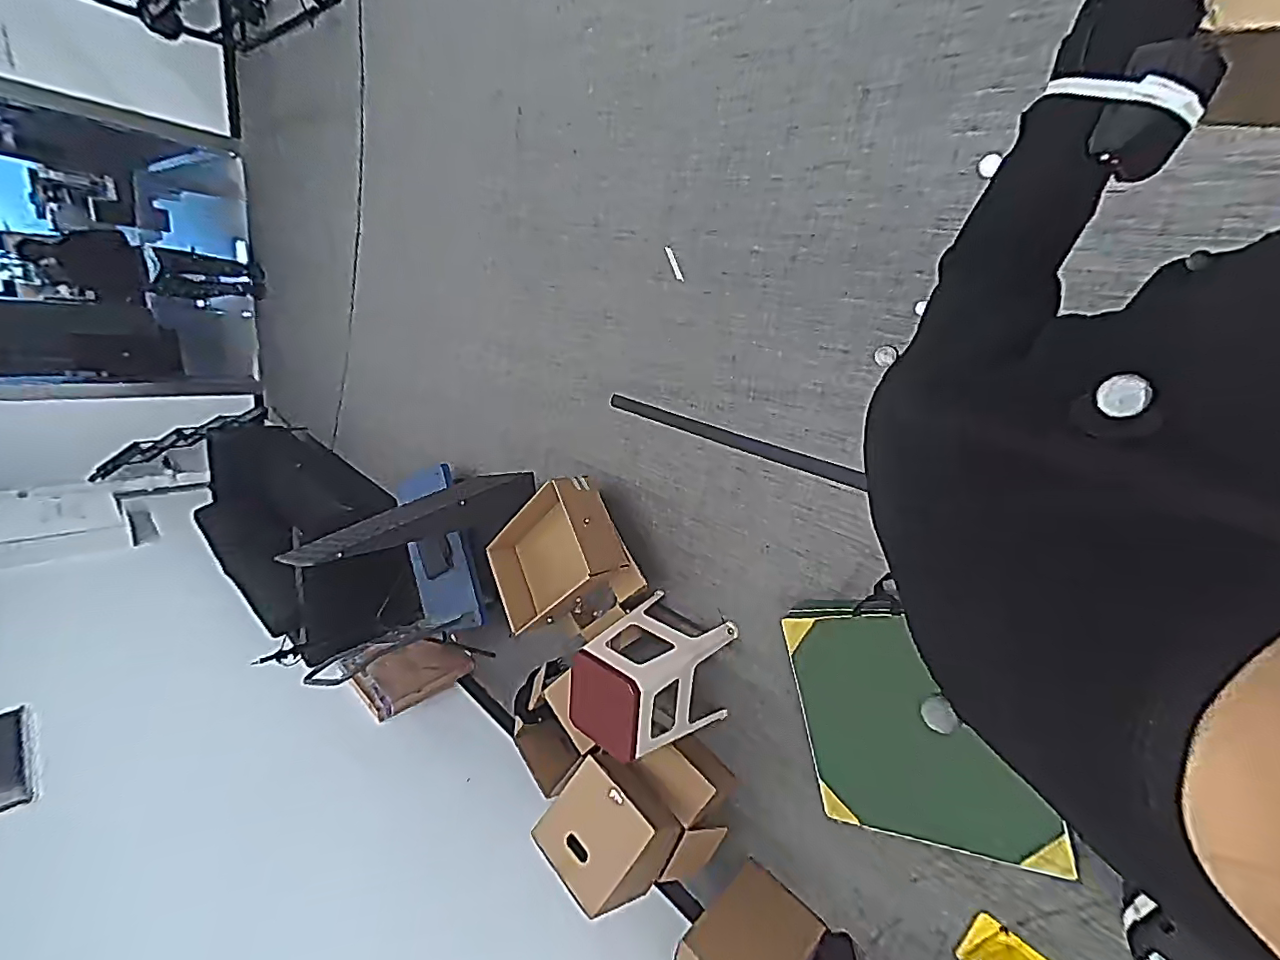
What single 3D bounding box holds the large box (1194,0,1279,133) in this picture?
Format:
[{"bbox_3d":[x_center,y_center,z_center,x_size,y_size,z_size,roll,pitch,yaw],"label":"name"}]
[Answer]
[{"bbox_3d":[0.618,-0.383,0.271,0.408,0.320,0.320,29,125,36],"label":"large box"}]
